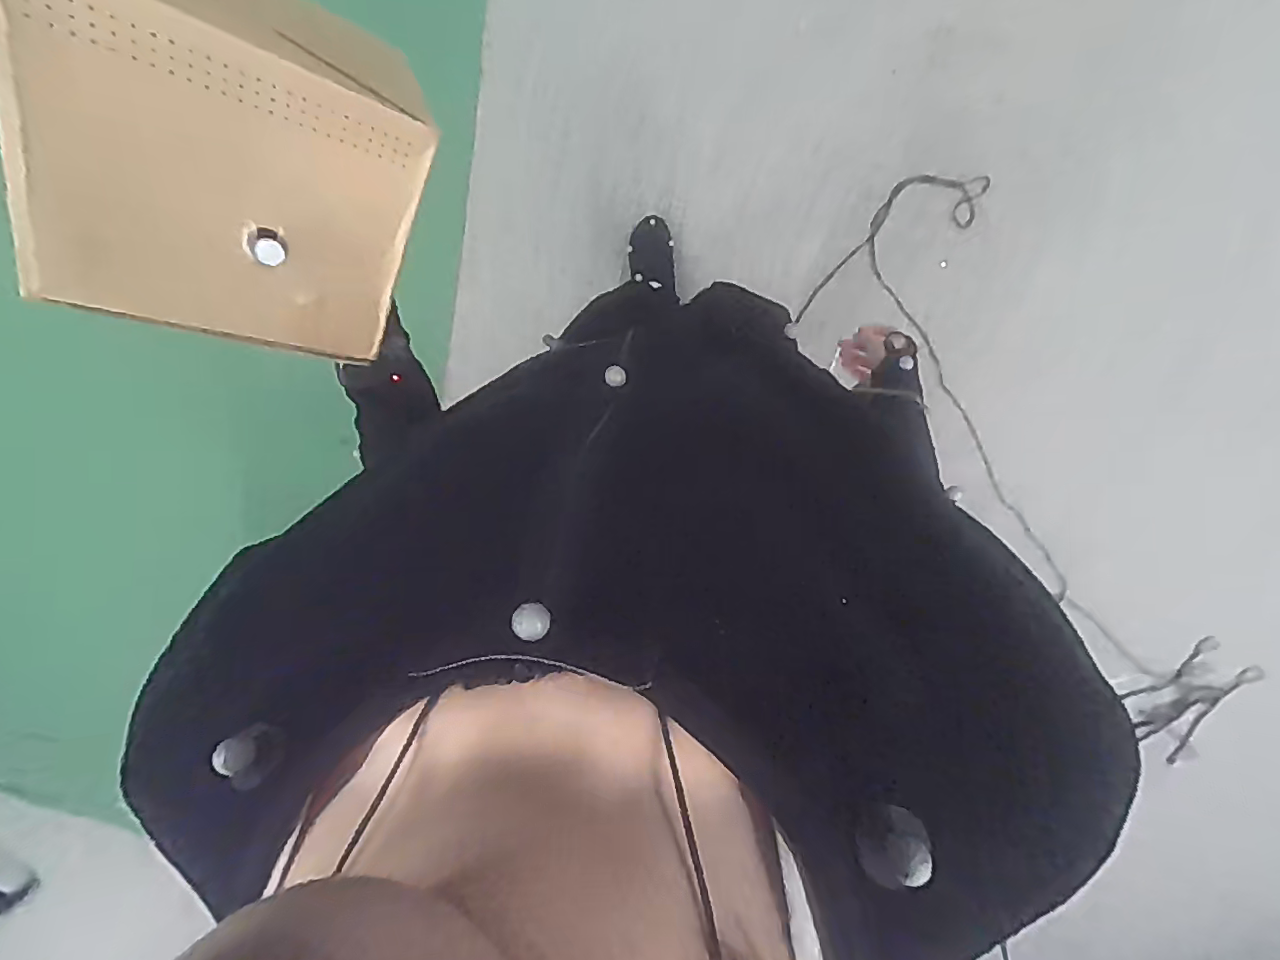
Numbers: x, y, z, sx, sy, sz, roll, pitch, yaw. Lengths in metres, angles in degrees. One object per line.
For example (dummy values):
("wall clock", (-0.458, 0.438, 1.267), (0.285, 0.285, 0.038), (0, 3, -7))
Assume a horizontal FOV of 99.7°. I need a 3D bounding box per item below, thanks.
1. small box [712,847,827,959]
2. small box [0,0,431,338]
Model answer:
("small box", (0.245, 0.873, 1.066), (0.168, 0.176, 0.179), (15, 115, -2))
("small box", (-0.246, -0.221, 0.331), (0.179, 0.168, 0.176), (6, 134, -39))
